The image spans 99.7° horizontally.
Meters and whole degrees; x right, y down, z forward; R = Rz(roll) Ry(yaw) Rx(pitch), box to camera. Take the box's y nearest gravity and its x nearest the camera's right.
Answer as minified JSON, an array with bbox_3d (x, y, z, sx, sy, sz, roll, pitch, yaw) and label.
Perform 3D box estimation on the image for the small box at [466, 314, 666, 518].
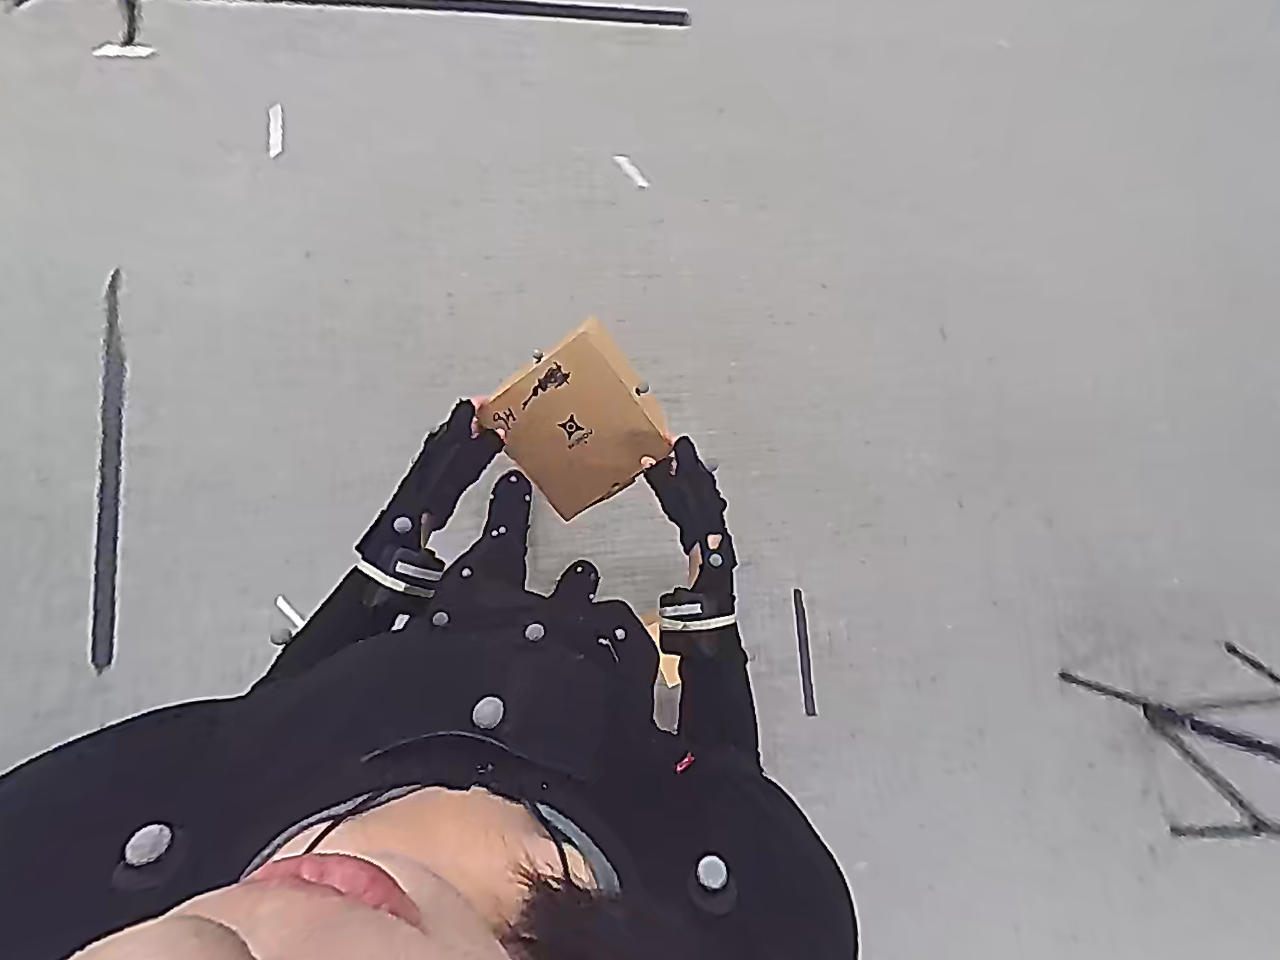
[{"bbox_3d":[-0.083,-0.090,0.692,0.168,0.176,0.179,-34,110,12],"label":"small box"}]

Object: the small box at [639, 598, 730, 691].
[{"bbox_3d":[0.112,0.426,1.435,0.179,0.176,0.168,-22,87,-8],"label":"small box"}]
